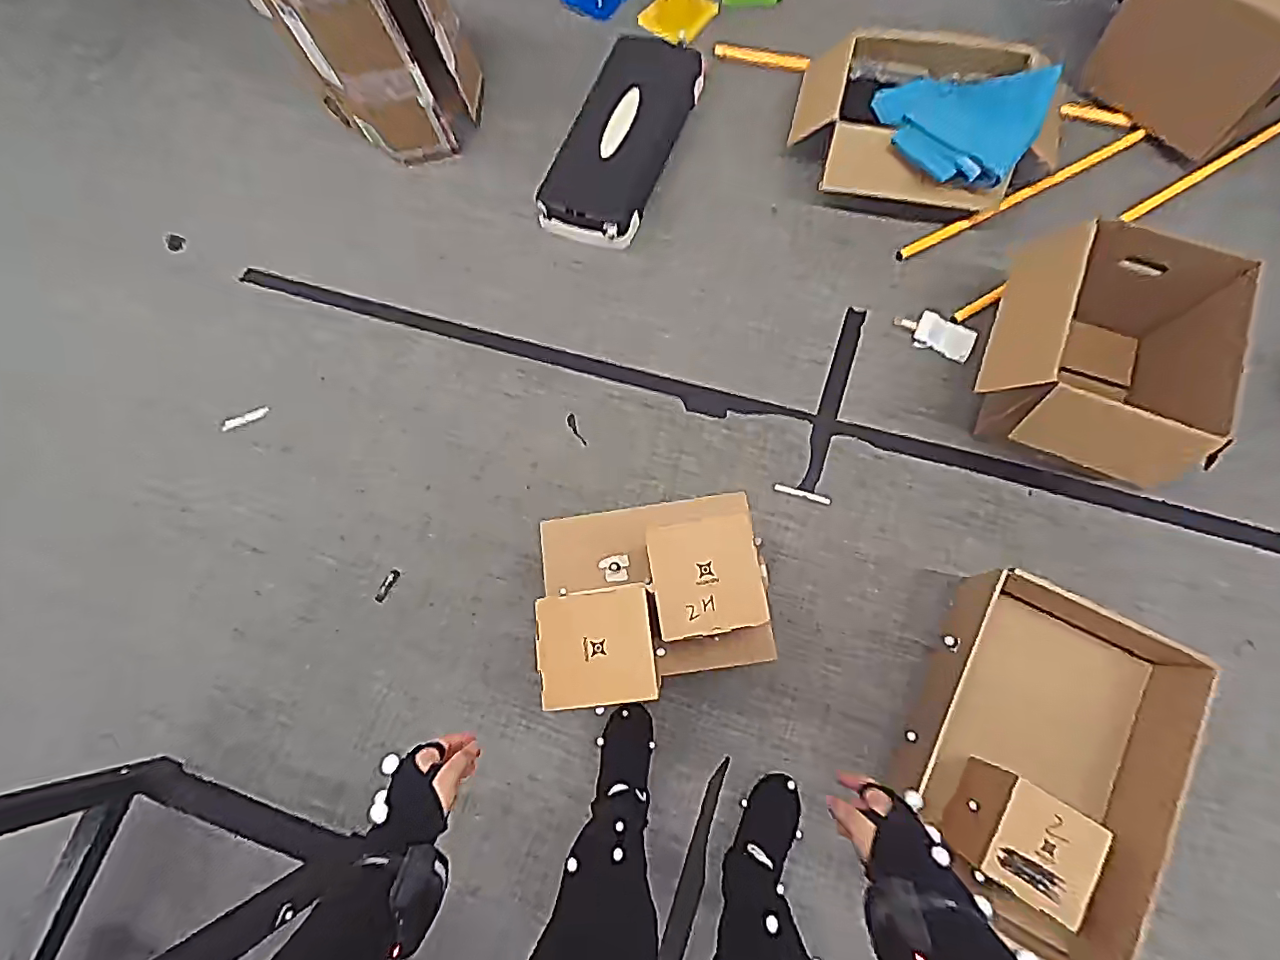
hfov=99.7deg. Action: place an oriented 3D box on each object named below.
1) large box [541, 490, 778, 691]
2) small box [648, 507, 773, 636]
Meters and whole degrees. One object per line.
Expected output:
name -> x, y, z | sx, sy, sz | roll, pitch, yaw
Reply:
large box -> 0.041, 0.234, 1.138 | 0.408, 0.320, 0.320 | -10, 74, 3
small box -> 0.110, 0.158, 0.896 | 0.168, 0.176, 0.179 | -11, 75, 3
